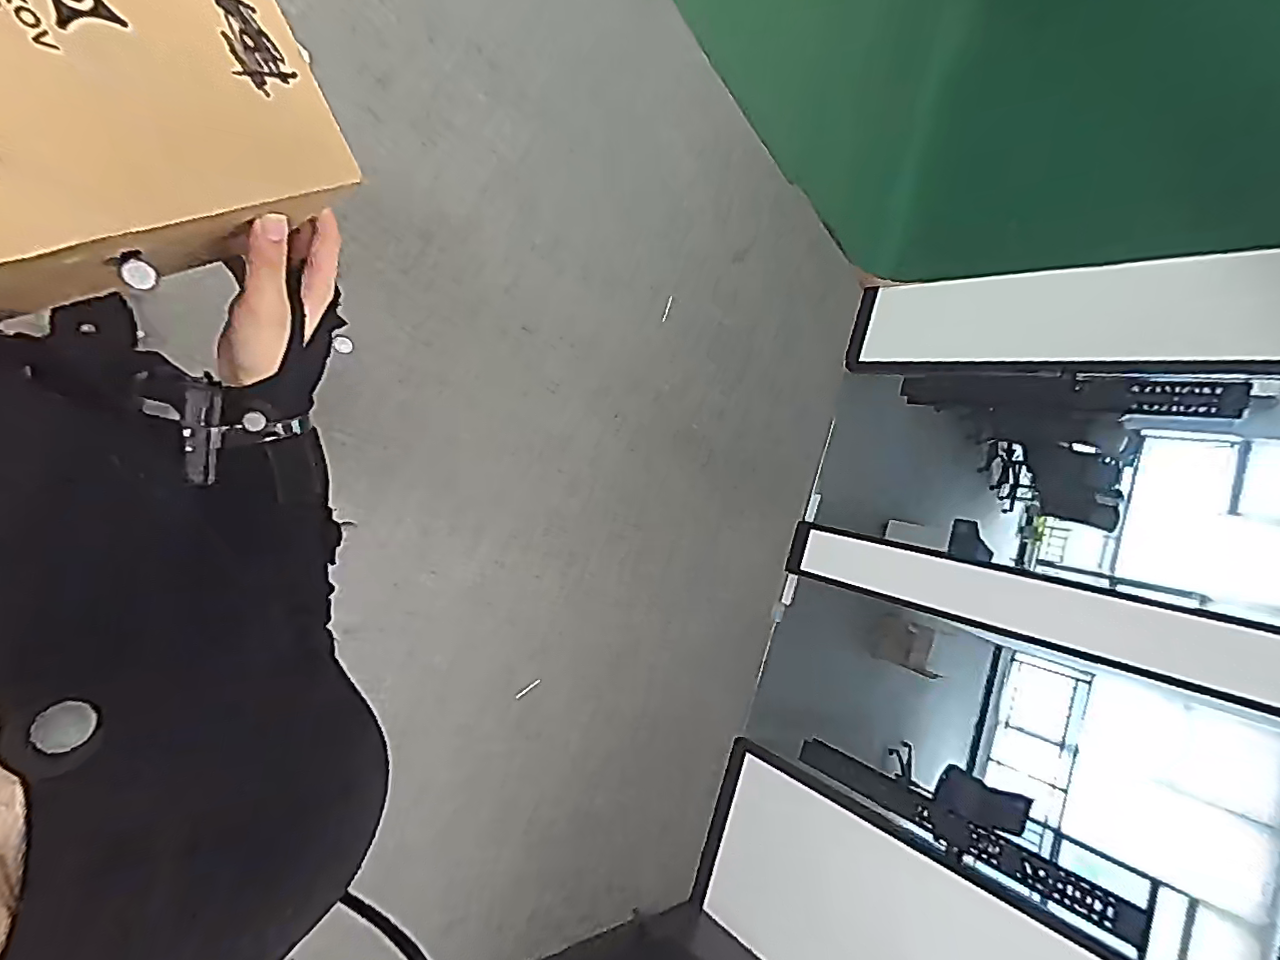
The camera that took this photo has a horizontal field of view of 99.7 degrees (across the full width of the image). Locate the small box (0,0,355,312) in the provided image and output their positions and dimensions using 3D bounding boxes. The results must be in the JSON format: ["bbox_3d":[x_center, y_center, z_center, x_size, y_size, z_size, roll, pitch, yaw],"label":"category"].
[{"bbox_3d":[-0.286,-0.192,0.256,0.179,0.176,0.168,-43,125,-37],"label":"small box"}]
